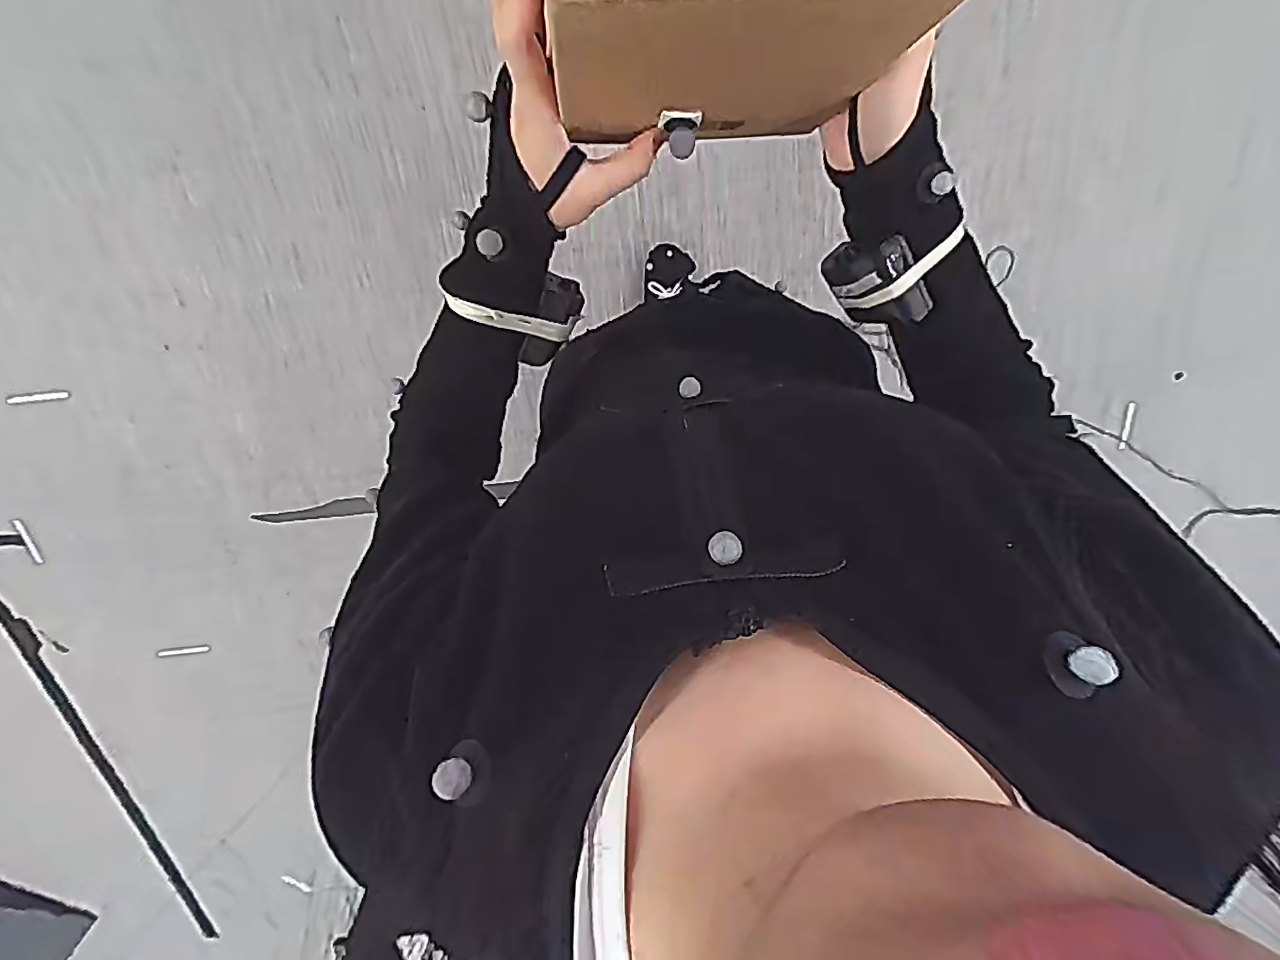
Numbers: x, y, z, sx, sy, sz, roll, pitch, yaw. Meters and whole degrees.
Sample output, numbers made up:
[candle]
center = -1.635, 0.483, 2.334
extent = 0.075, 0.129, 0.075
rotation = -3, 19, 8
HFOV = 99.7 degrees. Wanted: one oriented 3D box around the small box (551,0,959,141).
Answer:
[small box]
center = 0.037, -0.283, 0.244
extent = 0.168, 0.176, 0.179
rotation = -7, 106, -4
